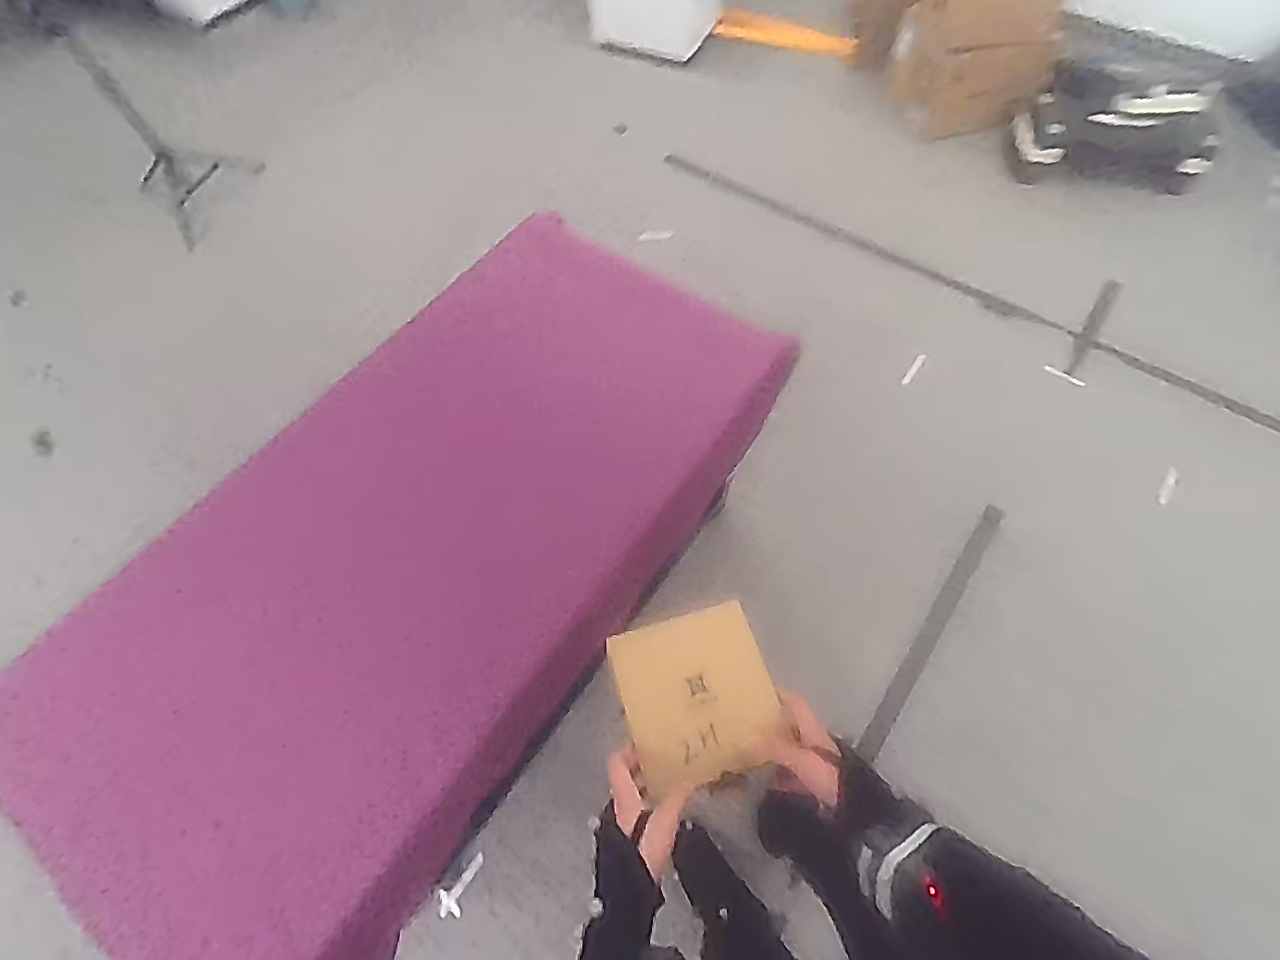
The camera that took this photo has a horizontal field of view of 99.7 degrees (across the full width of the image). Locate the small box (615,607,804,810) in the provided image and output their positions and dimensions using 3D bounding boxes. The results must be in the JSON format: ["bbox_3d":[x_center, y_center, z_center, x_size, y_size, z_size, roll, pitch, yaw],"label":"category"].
[{"bbox_3d":[0.070,0.281,0.660,0.168,0.176,0.179,-15,62,-8],"label":"small box"}]
